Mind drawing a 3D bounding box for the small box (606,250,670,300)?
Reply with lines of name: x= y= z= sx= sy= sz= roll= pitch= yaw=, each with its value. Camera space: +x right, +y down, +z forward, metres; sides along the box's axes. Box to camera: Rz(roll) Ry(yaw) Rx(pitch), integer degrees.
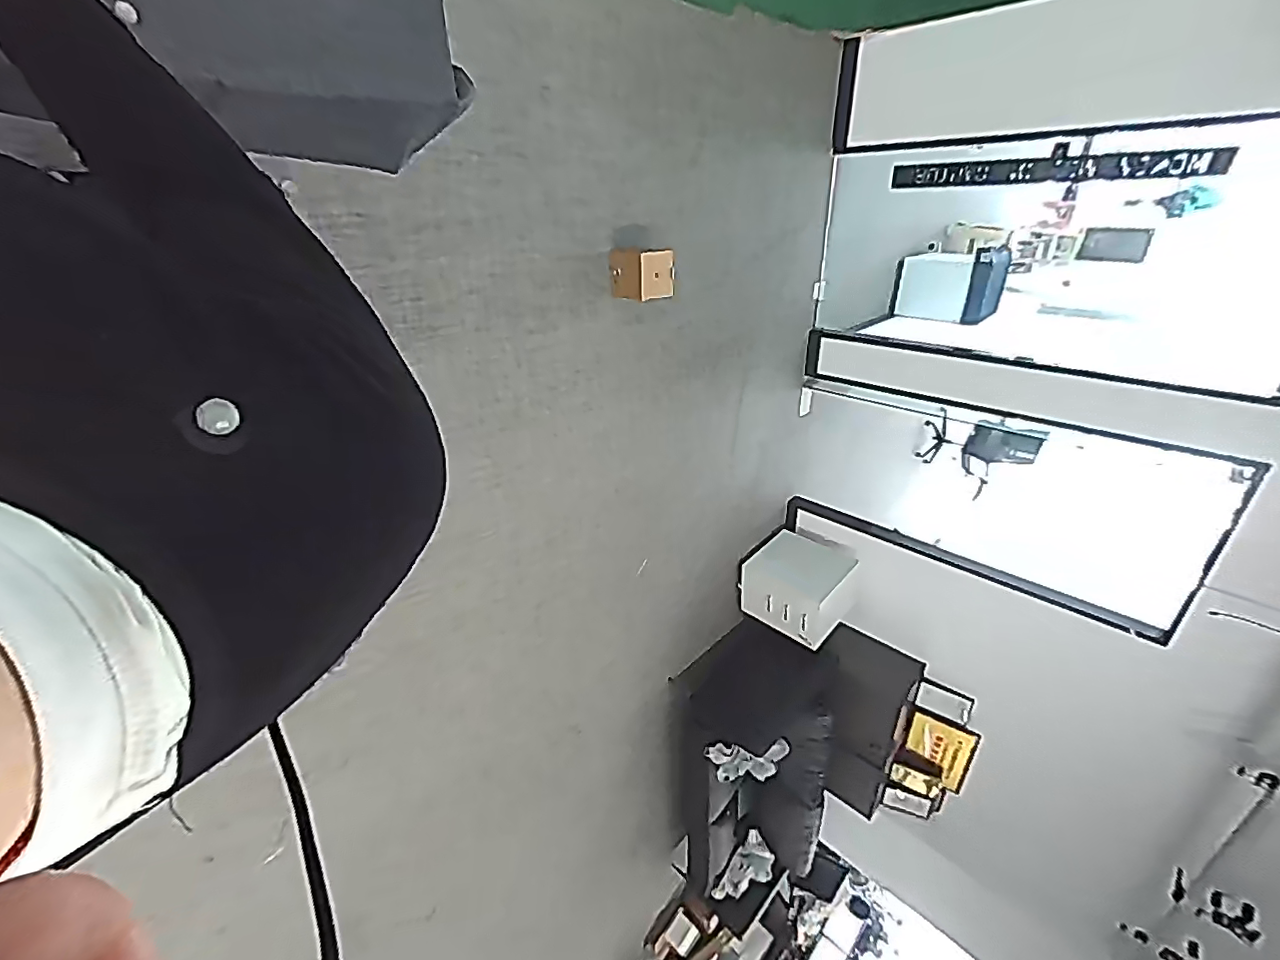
small box: x=-0.007 y=-0.773 z=2.031 sx=0.179 sy=0.176 sz=0.168 roll=-23 pitch=123 yaw=-41
